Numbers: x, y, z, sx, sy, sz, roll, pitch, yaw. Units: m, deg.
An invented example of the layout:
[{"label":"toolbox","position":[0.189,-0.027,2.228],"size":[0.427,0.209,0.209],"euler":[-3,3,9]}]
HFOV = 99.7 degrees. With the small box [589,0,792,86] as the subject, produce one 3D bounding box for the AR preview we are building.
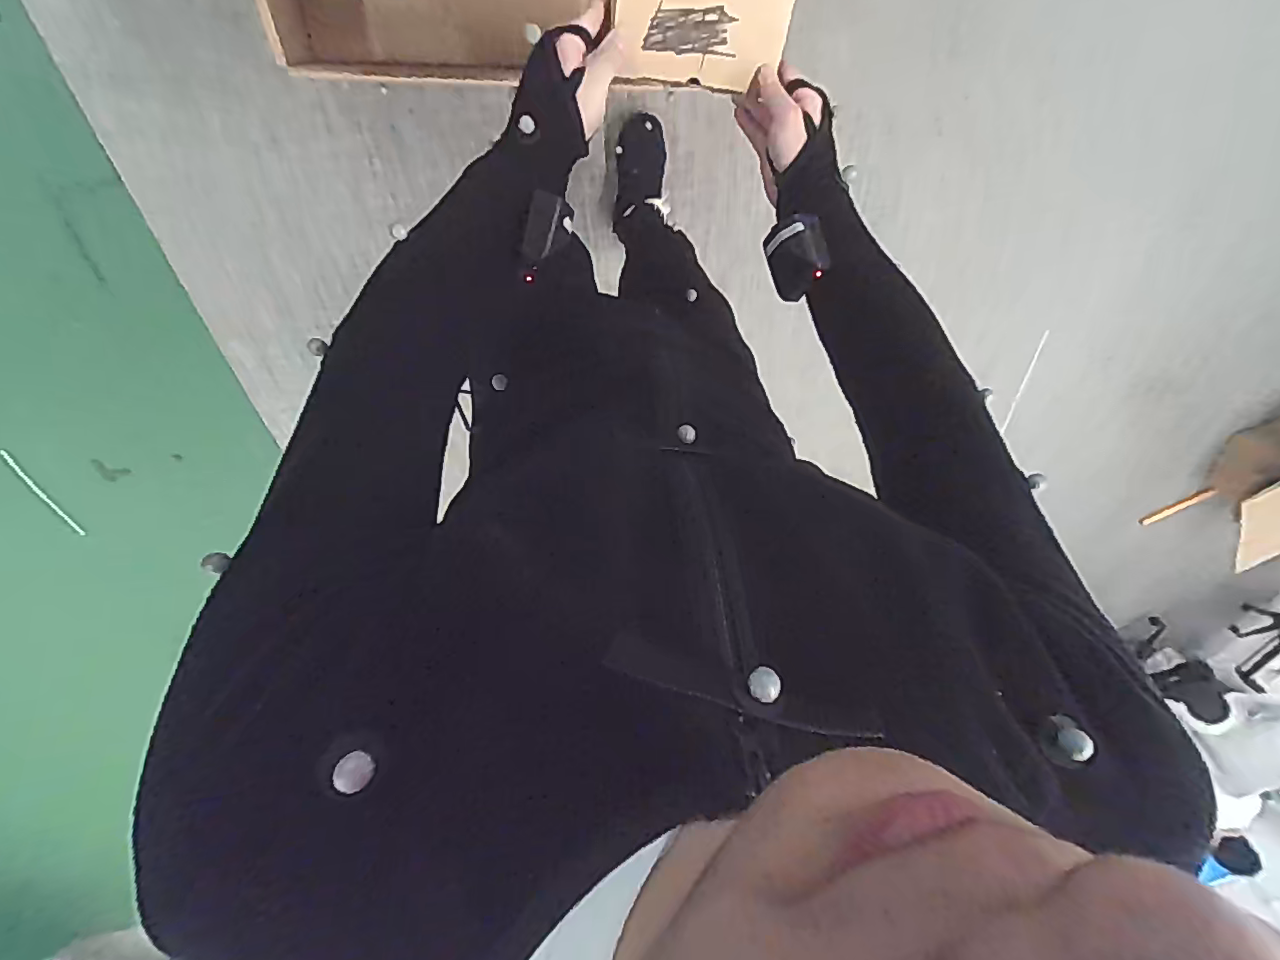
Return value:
[{"label":"small box","position":[0.047,-0.503,0.509],"size":[0.168,0.176,0.179],"euler":[-2,133,-14]}]
